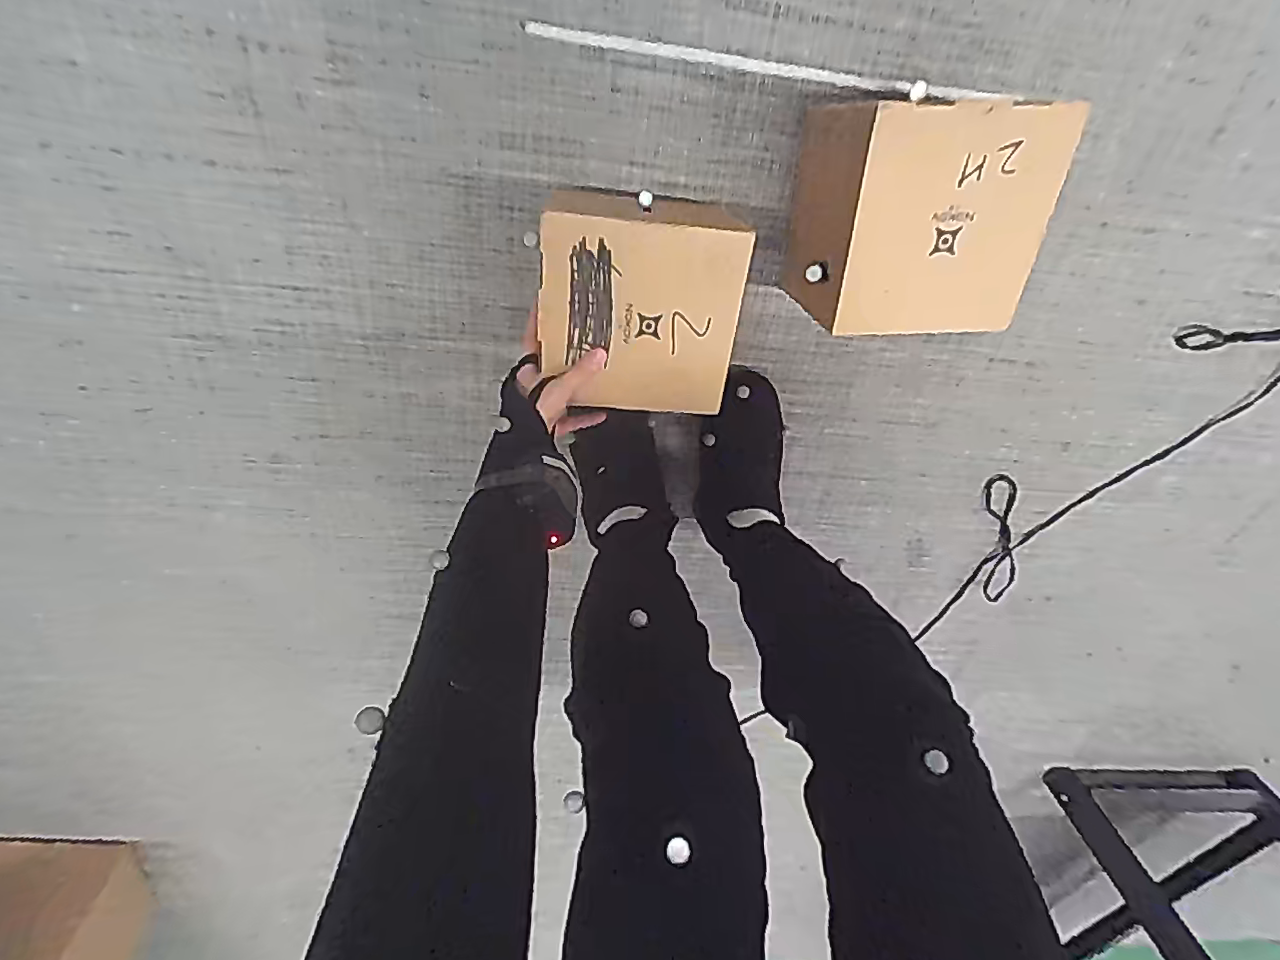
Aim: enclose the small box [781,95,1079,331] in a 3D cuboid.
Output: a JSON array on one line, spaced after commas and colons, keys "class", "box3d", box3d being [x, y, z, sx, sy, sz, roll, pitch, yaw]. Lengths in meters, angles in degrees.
[{"class": "small box", "box3d": [0.241, -0.253, 0.509, 0.168, 0.176, 0.179, -2, 123, -3]}]
